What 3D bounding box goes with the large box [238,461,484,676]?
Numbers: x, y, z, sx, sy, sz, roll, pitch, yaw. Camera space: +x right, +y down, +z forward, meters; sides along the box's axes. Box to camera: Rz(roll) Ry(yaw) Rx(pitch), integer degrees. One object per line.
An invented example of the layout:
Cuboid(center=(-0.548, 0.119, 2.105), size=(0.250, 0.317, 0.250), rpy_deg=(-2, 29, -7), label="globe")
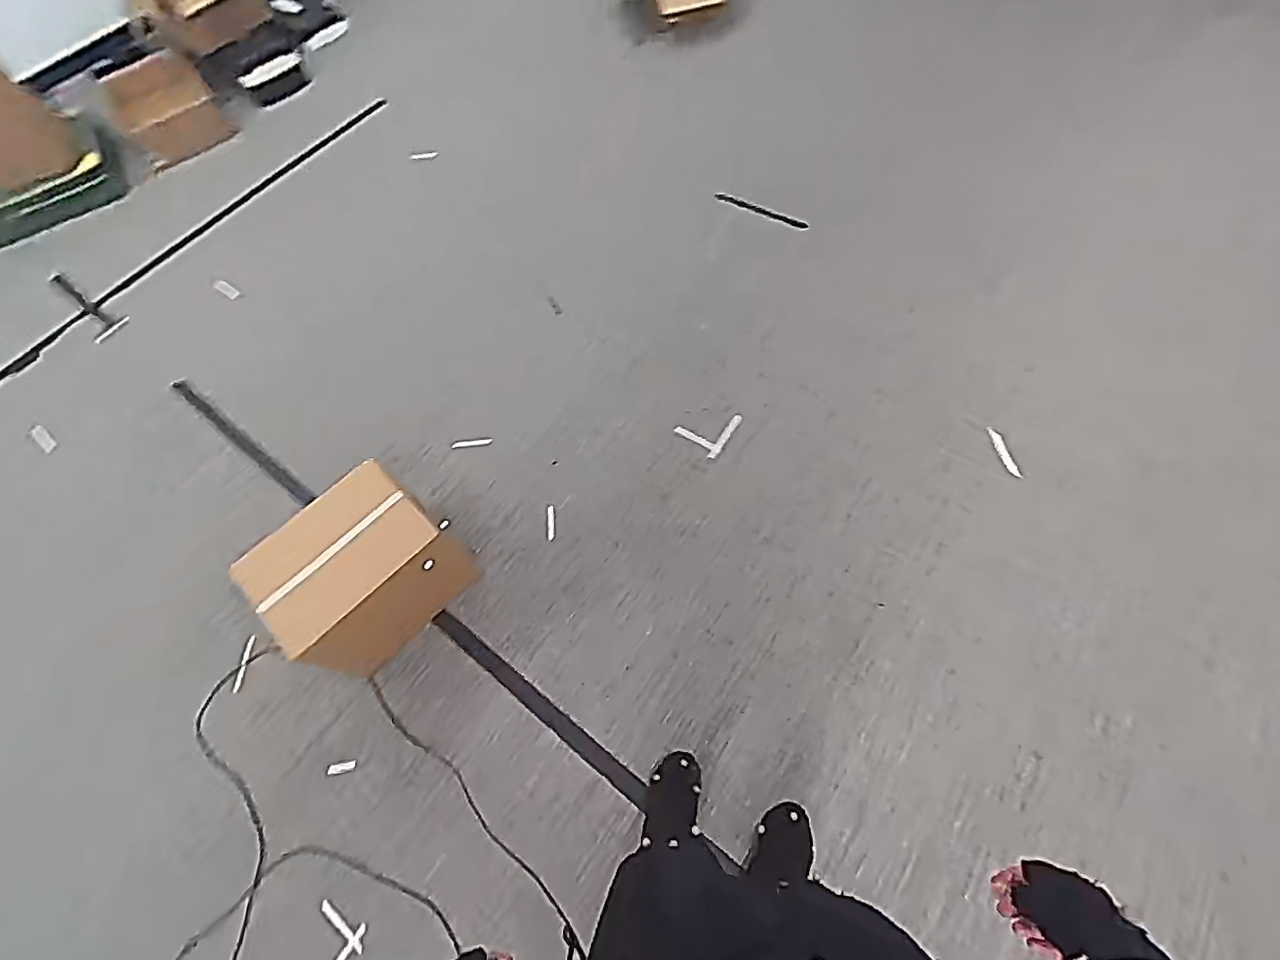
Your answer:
Cuboid(center=(-0.690, 0.236, 1.402), size=(0.320, 0.320, 0.408), rpy_deg=(40, 73, 22), label="large box")
